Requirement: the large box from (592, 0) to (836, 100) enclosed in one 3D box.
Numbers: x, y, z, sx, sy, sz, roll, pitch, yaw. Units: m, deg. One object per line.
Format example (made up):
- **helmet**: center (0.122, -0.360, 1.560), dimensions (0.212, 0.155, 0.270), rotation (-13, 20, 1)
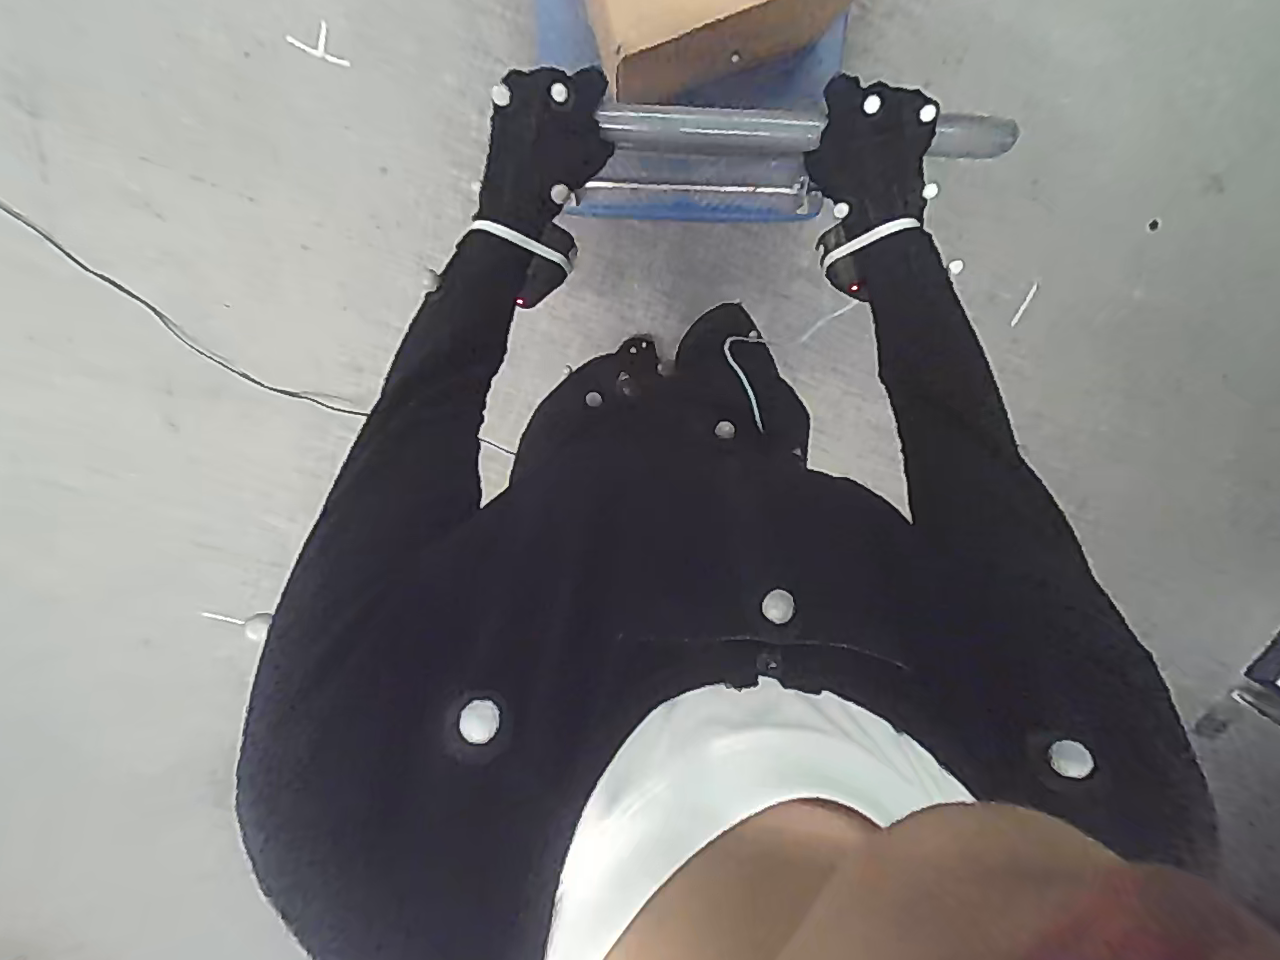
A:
- **large box**: center (0.109, -0.869, 0.839), dimensions (0.408, 0.320, 0.320), rotation (-18, 111, 6)
